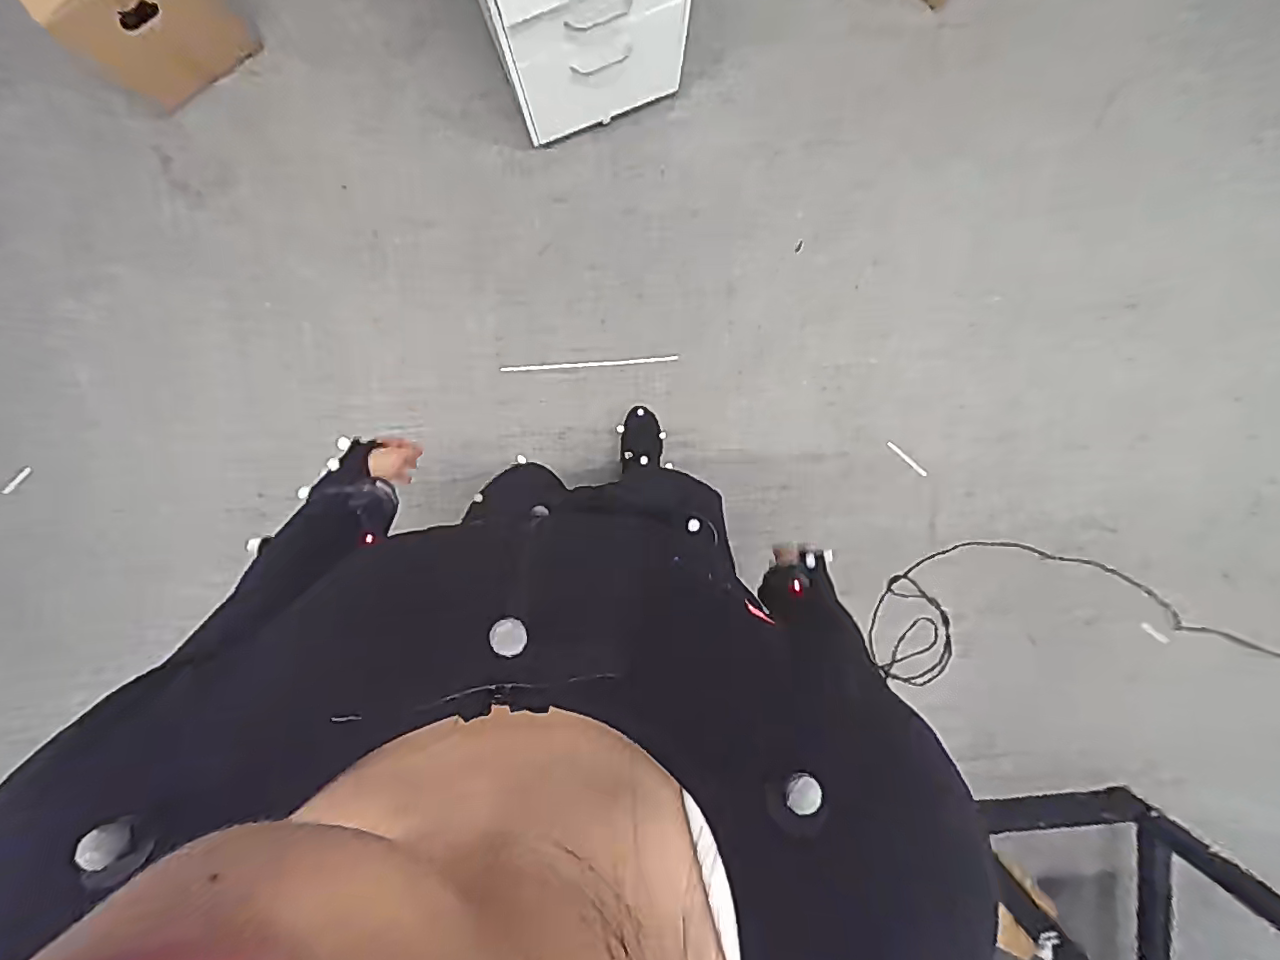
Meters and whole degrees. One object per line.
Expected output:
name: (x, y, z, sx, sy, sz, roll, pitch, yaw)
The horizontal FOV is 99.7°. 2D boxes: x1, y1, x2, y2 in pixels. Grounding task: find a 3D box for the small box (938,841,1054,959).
small box: (0.978, 1.154, 1.505, 0.179, 0.176, 0.168, 29, 92, -4)
